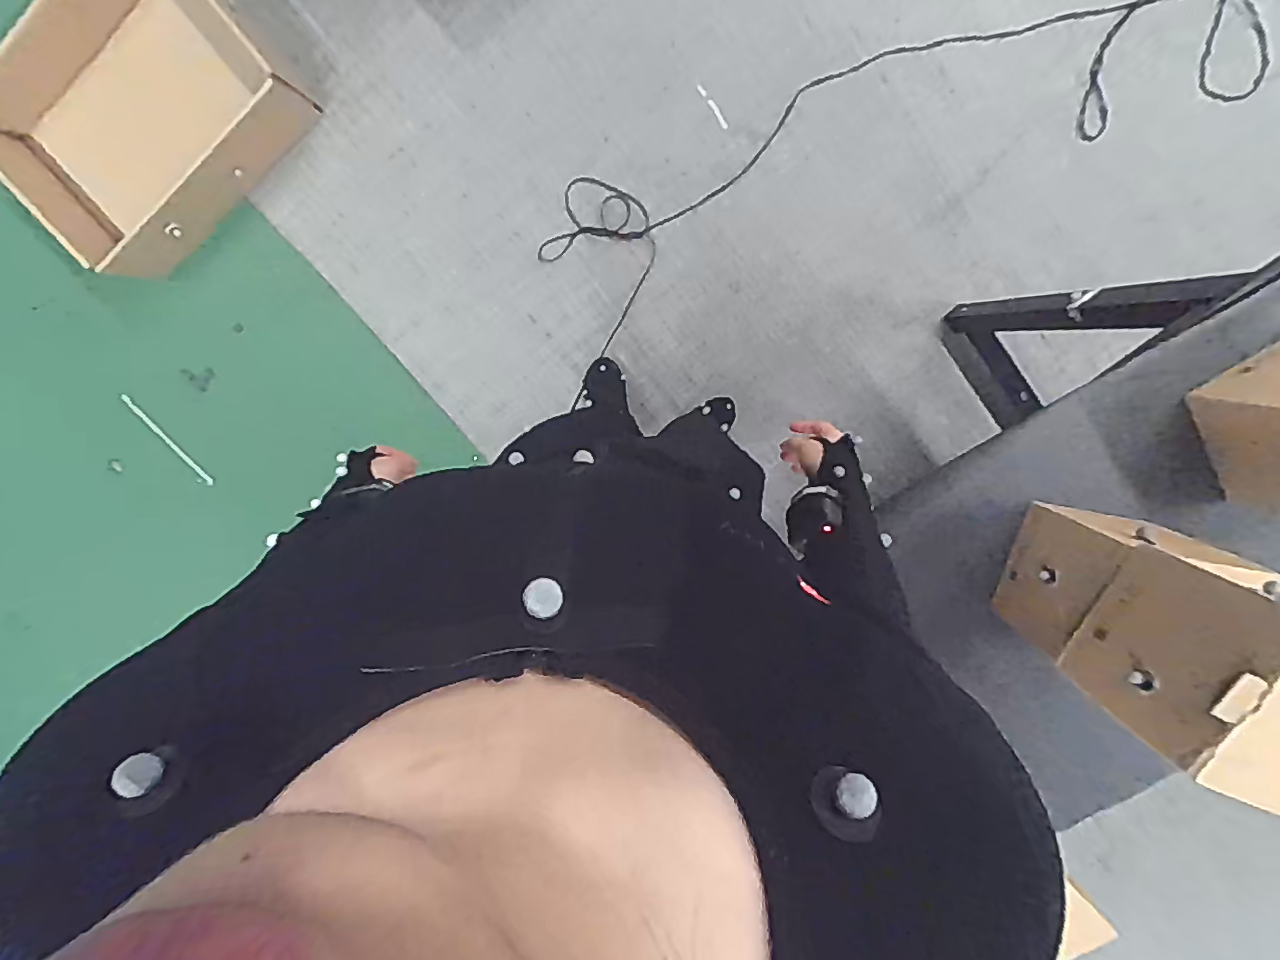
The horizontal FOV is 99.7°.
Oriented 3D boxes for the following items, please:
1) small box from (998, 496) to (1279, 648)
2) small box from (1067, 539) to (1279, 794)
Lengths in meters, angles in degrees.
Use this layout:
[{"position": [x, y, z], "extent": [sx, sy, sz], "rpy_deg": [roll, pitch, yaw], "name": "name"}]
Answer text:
[{"position": [0.602, 0.129, 0.680], "extent": [0.179, 0.176, 0.168], "rpy_deg": [10, 106, -2], "name": "small box"}, {"position": [0.582, 0.176, 0.525], "extent": [0.179, 0.176, 0.168], "rpy_deg": [21, 106, -6], "name": "small box"}]
